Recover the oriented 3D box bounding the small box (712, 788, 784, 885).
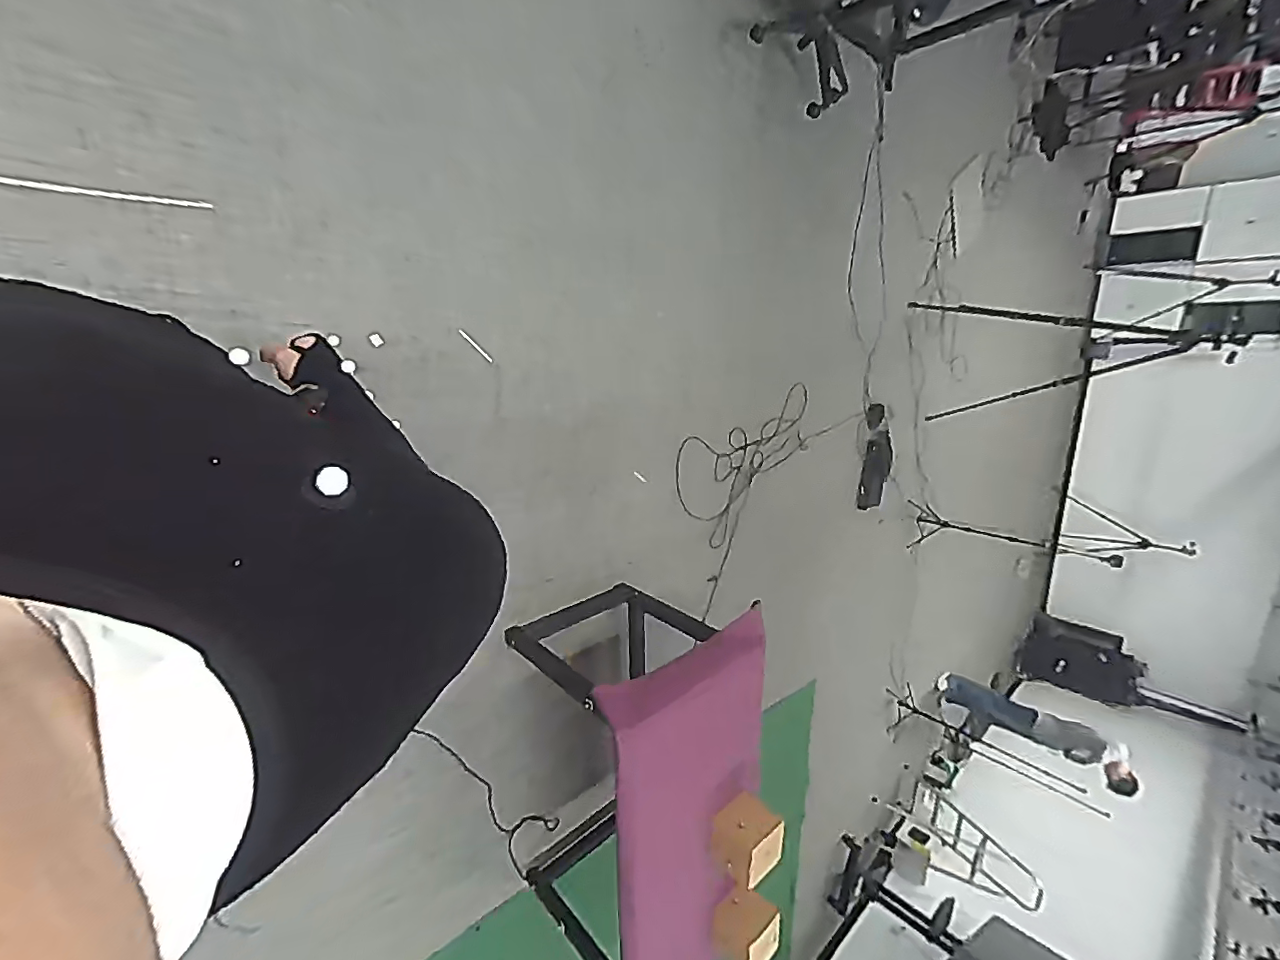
[{"bbox_3d":[0.357,1.186,1.812,0.179,0.176,0.168,-10,108,-41],"label":"small box"}]

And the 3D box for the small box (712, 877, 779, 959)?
[{"bbox_3d":[0.371,1.579,1.922,0.179,0.176,0.168,-13,109,-39],"label":"small box"}]
